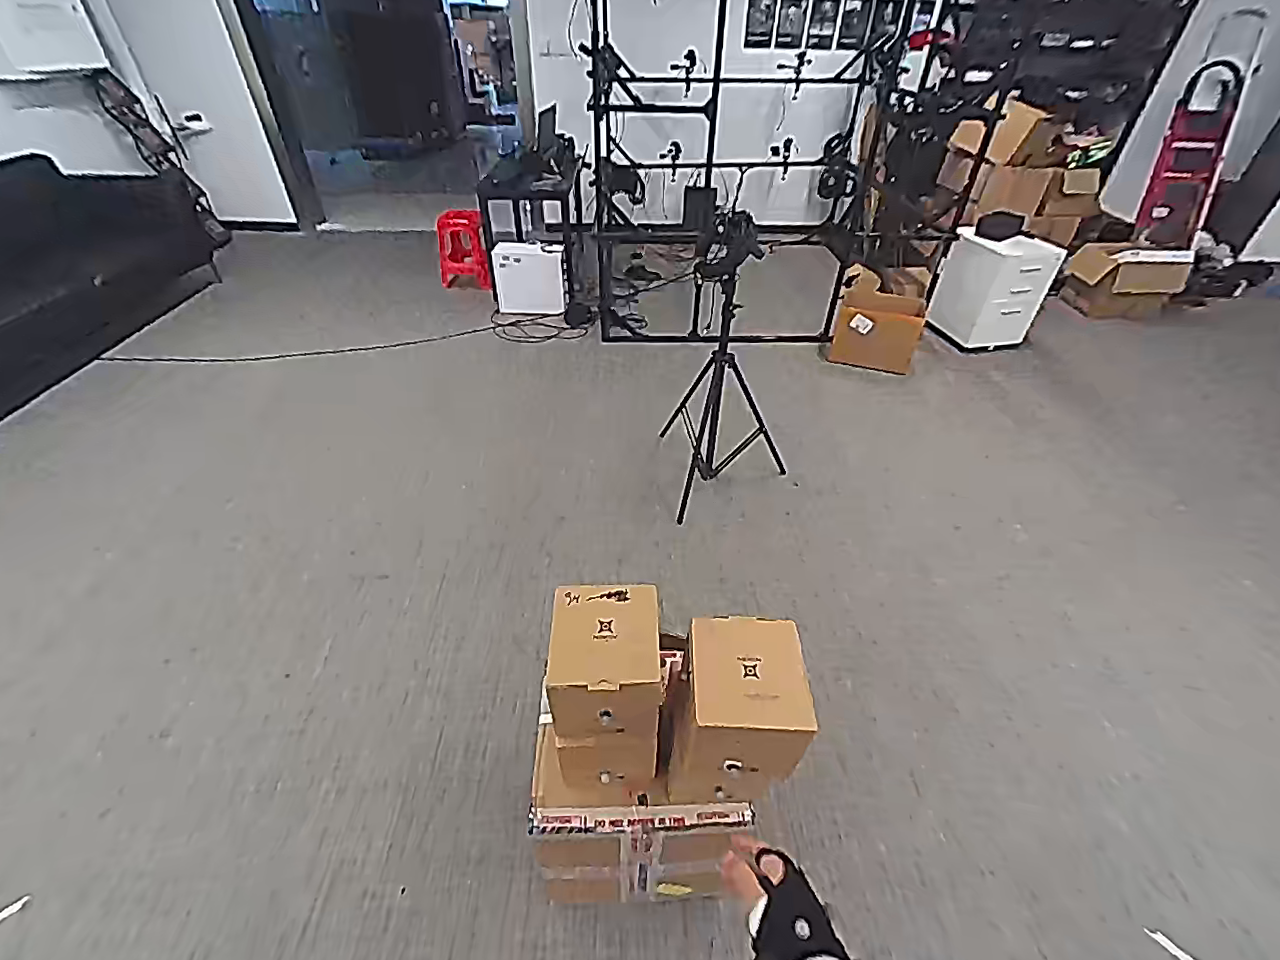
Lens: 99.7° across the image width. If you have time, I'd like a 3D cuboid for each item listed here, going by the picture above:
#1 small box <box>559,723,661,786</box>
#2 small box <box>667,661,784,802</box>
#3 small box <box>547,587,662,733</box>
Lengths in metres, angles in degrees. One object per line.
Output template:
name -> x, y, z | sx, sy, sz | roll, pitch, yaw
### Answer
small box -> -0.053, 0.425, 0.973 | 0.168, 0.176, 0.179 | -3, 43, -3
small box -> 0.139, 0.444, 0.957 | 0.168, 0.176, 0.179 | 1, 41, -2
small box -> -0.050, 0.294, 0.873 | 0.168, 0.176, 0.179 | -1, 43, -1
